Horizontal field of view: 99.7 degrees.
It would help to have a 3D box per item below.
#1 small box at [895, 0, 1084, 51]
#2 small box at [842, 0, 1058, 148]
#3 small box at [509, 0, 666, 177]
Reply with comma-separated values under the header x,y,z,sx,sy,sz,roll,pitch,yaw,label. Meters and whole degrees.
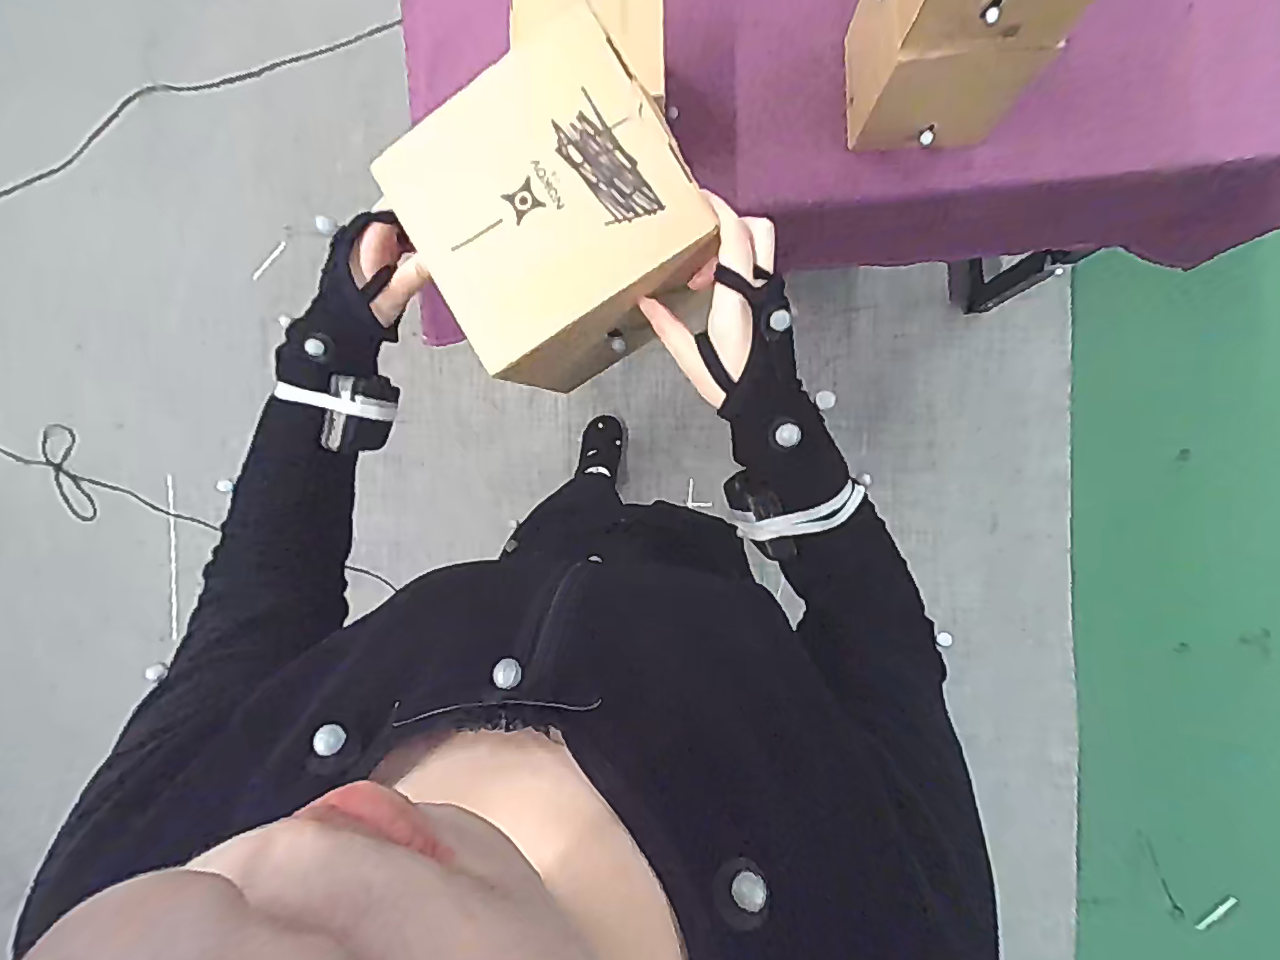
x,y,z,sx,sy,sz,roll,pitch,yaw,label
0.350,-0.548,0.497,0.168,0.176,0.179,-1,91,4,small box
0.363,-0.538,0.660,0.179,0.176,0.168,-1,90,3,small box
-0.056,-0.511,0.689,0.179,0.176,0.168,0,91,3,small box
